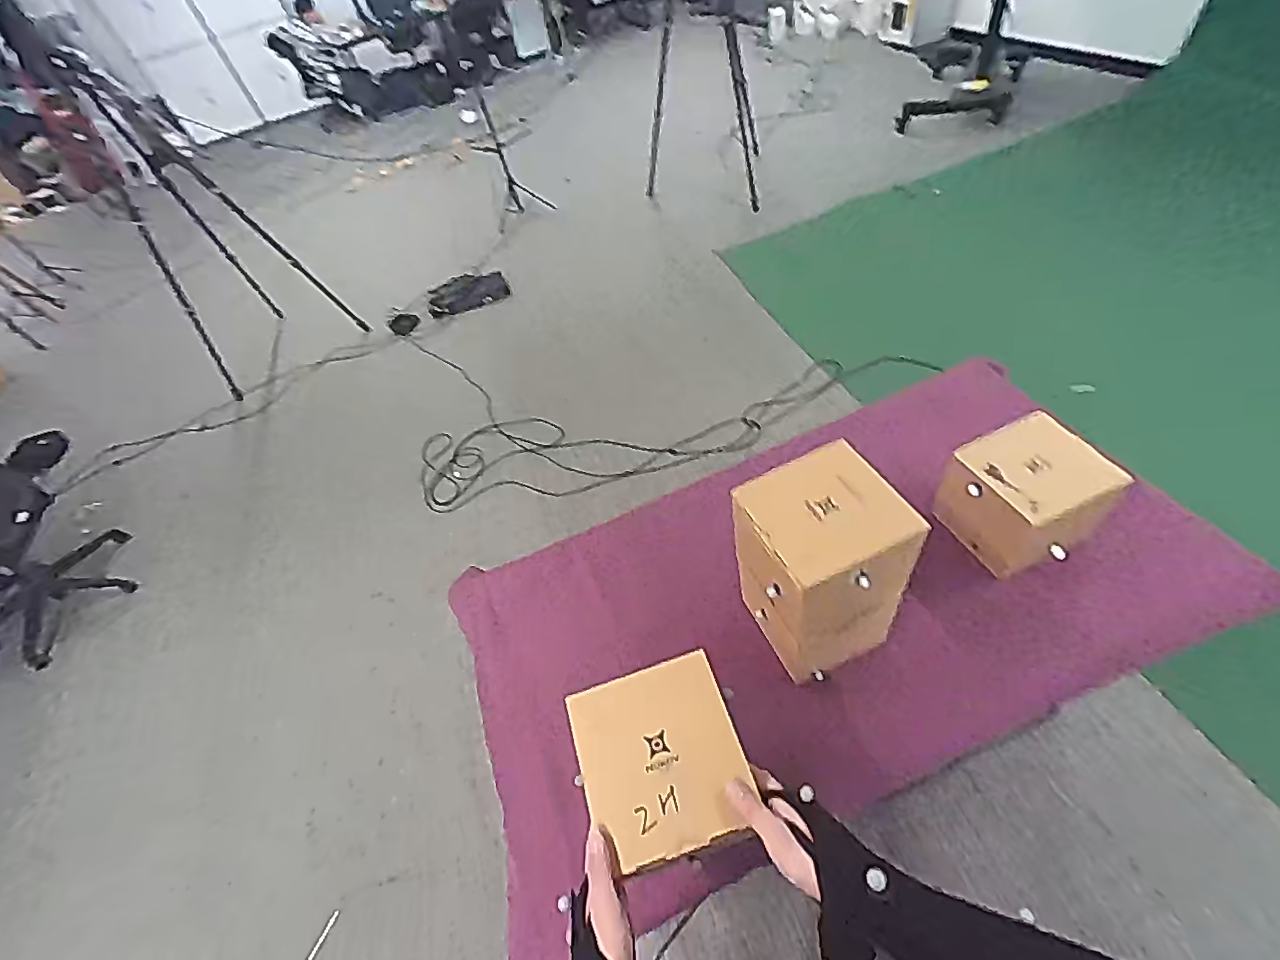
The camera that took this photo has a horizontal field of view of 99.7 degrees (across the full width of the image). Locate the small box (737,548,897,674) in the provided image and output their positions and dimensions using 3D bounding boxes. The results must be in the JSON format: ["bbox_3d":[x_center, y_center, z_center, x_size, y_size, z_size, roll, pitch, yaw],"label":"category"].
[{"bbox_3d":[0.270,0.183,0.855,0.168,0.176,0.179,-24,49,-7],"label":"small box"}]

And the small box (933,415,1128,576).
[{"bbox_3d":[0.626,0.028,0.896,0.179,0.176,0.168,-23,49,-6],"label":"small box"}]

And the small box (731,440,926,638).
[{"bbox_3d":[0.241,0.084,0.728,0.179,0.176,0.168,-23,51,-7],"label":"small box"}]

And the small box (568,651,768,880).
[{"bbox_3d":[0.029,0.325,0.611,0.168,0.176,0.179,-18,54,-4],"label":"small box"}]
